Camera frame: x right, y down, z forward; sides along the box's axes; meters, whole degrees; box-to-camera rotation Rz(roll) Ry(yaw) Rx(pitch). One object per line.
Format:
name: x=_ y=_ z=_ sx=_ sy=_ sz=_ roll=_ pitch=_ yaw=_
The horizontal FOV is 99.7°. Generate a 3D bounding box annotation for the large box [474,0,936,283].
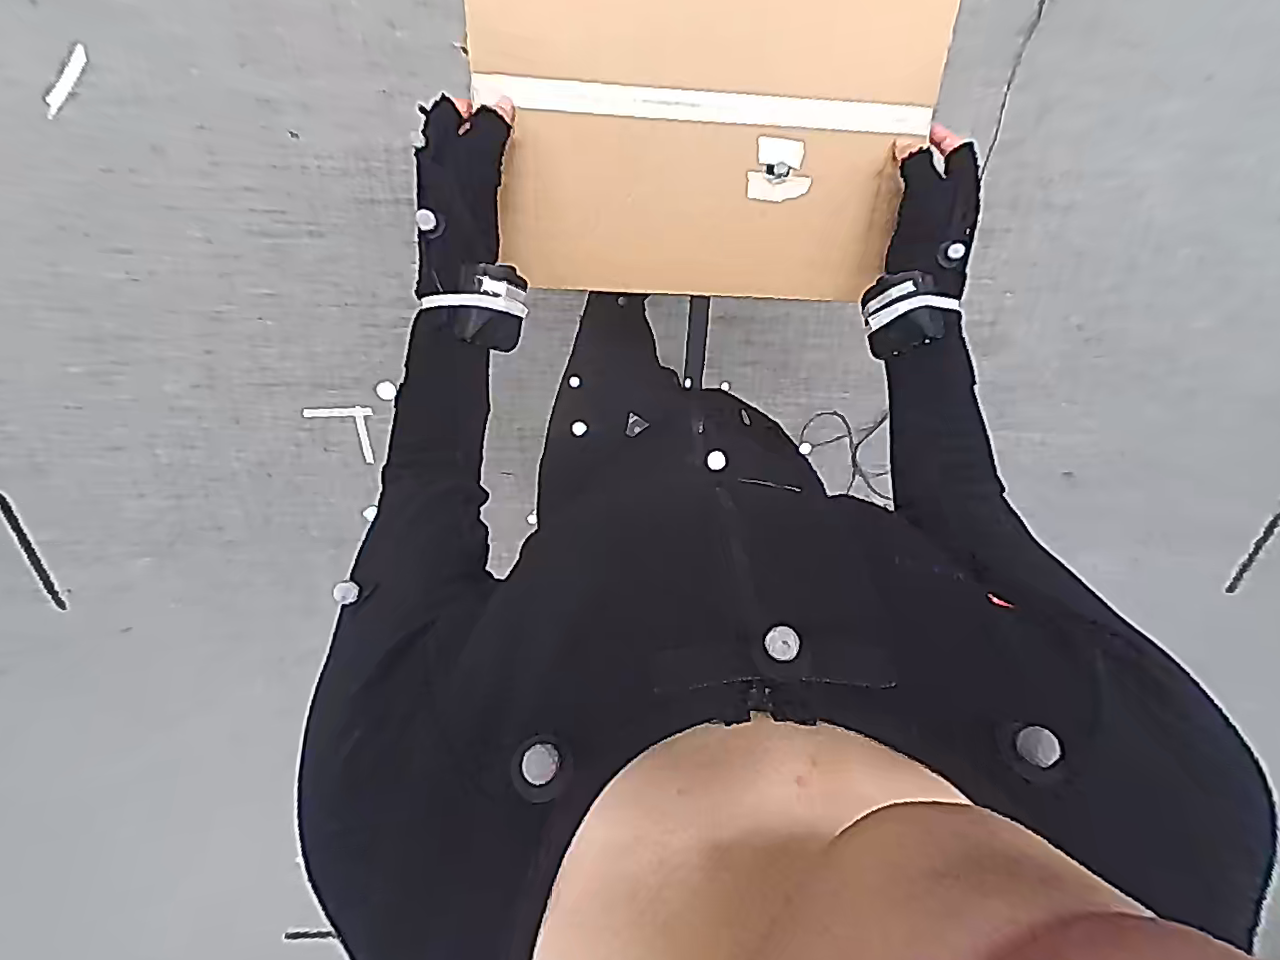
large box: x=0.042 y=-0.406 z=0.620 sx=0.408 sy=0.320 sz=0.320 roll=0 pitch=116 yaw=-6
